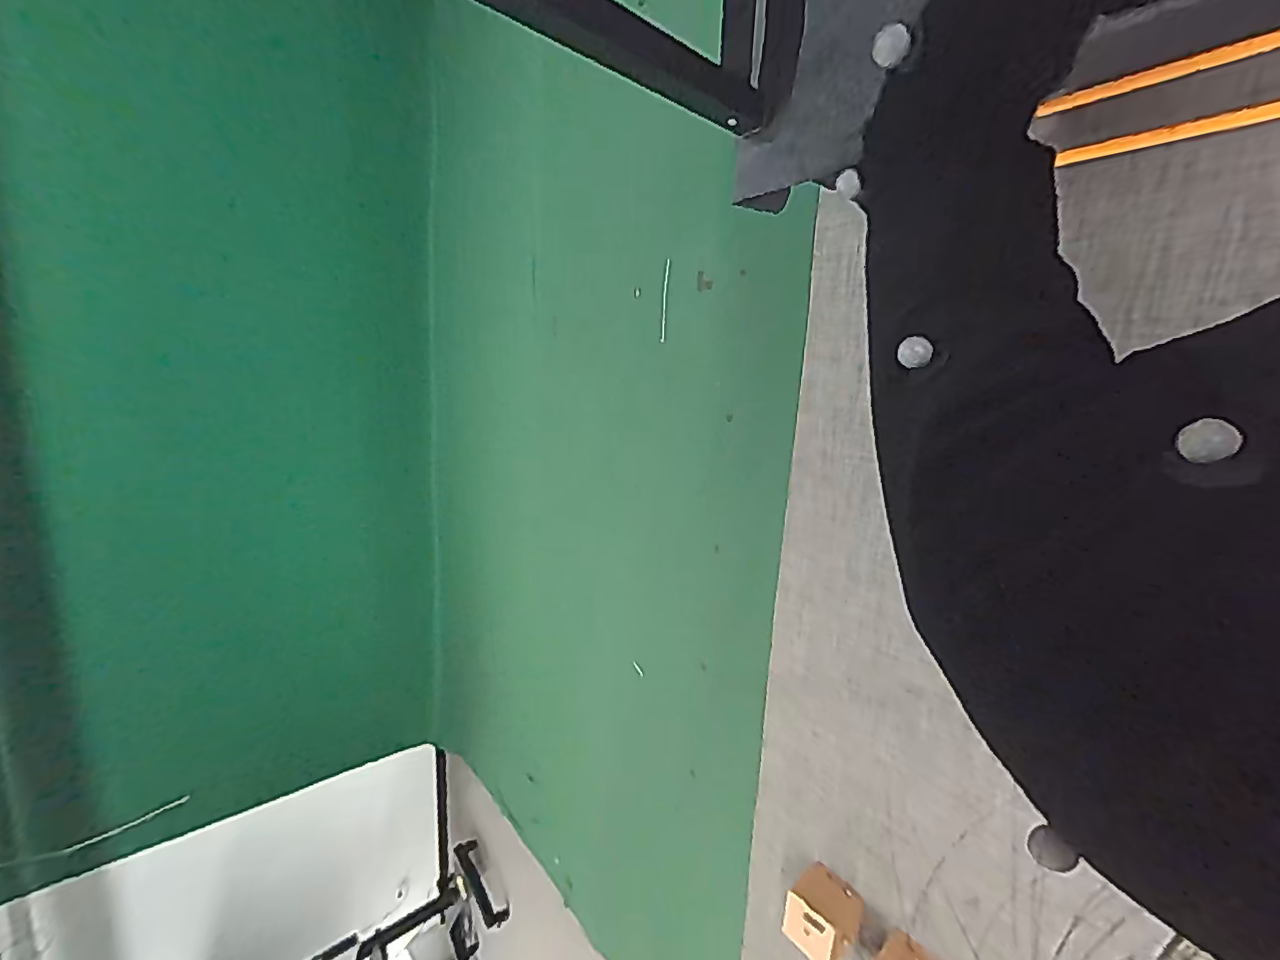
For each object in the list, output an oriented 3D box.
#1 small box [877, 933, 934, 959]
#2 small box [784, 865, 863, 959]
[{"bbox_3d":[0.757,1.449,1.517,0.168,0.176,0.179,18,108,47],"label":"small box"},{"bbox_3d":[0.584,1.383,1.713,0.168,0.176,0.179,18,108,47],"label":"small box"}]
